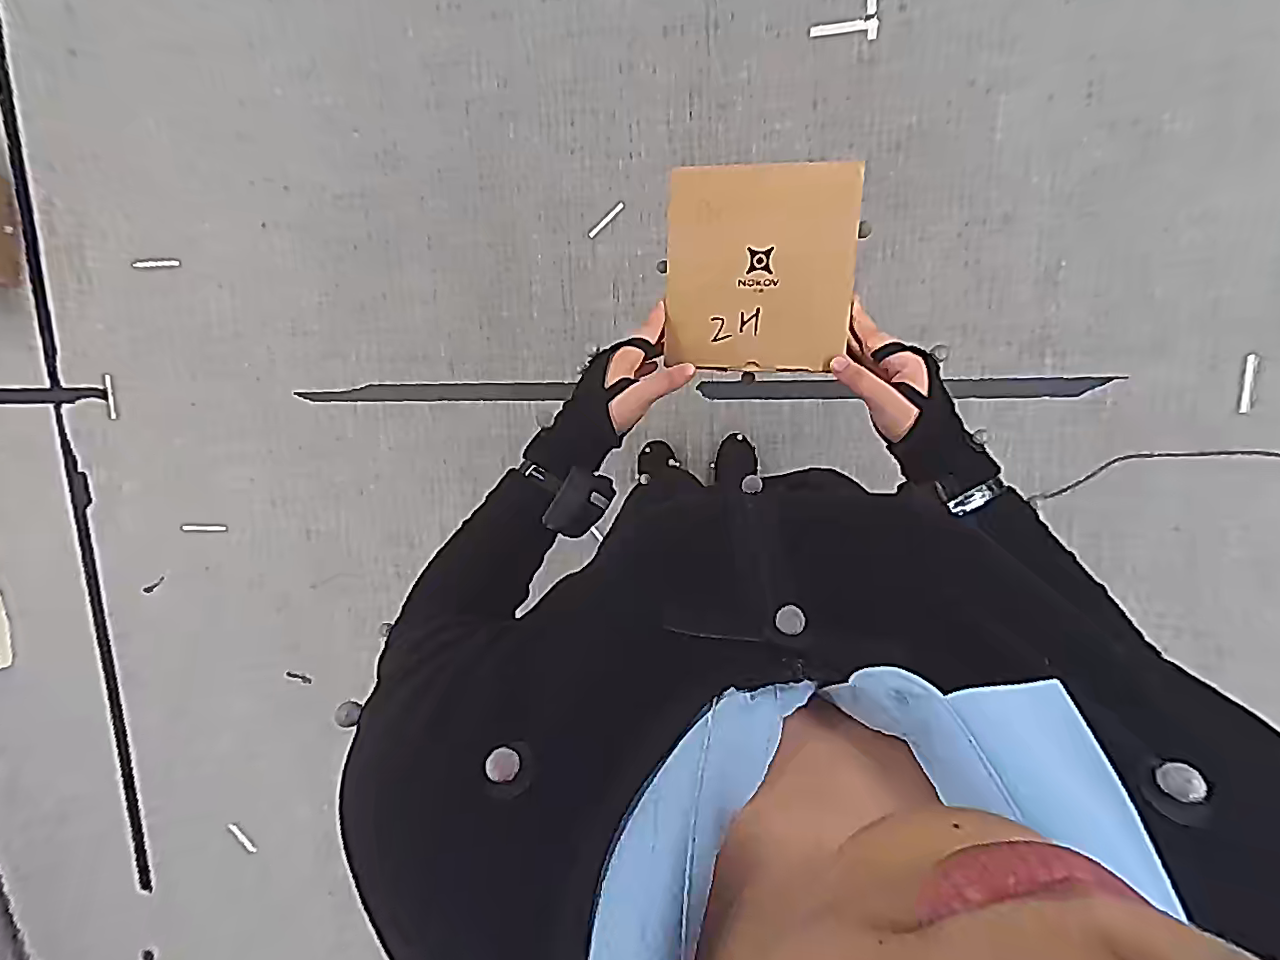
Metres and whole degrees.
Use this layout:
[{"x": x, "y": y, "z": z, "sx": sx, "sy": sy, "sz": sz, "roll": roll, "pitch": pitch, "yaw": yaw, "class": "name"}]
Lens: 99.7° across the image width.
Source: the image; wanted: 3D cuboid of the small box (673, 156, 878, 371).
[{"x": 0.126, "y": -0.203, "z": 0.550, "sx": 0.168, "sy": 0.176, "sz": 0.179, "roll": 3, "pitch": 103, "yaw": 10, "class": "small box"}]
